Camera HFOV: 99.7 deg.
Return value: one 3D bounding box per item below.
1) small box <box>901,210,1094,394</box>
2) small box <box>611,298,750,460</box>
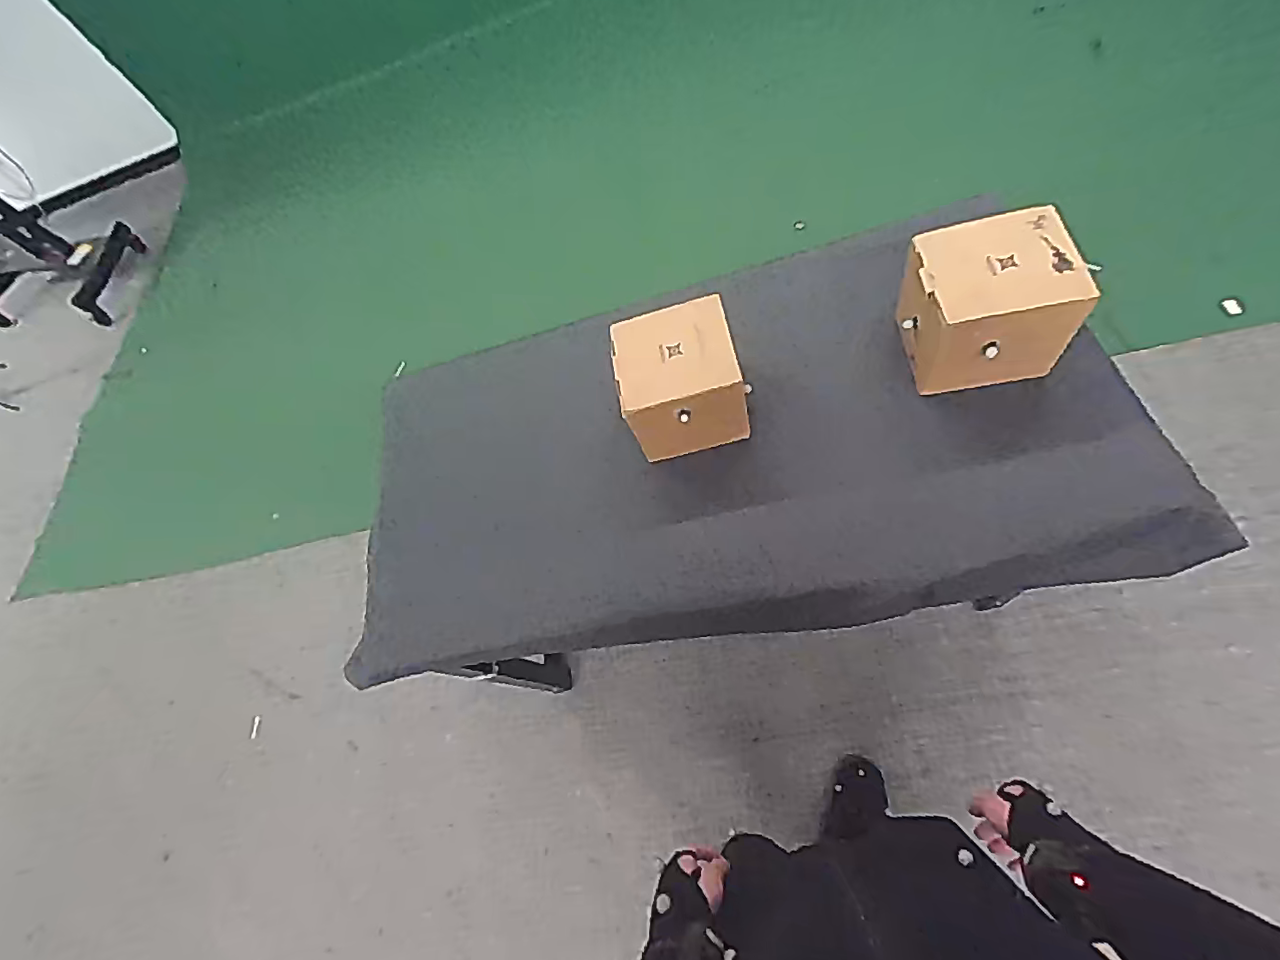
[{"bbox_3d":[0.486,-0.242,0.774,0.179,0.176,0.168,-9,64,13],"label":"small box"},{"bbox_3d":[0.068,-0.150,0.858,0.179,0.176,0.168,-13,64,9],"label":"small box"}]
